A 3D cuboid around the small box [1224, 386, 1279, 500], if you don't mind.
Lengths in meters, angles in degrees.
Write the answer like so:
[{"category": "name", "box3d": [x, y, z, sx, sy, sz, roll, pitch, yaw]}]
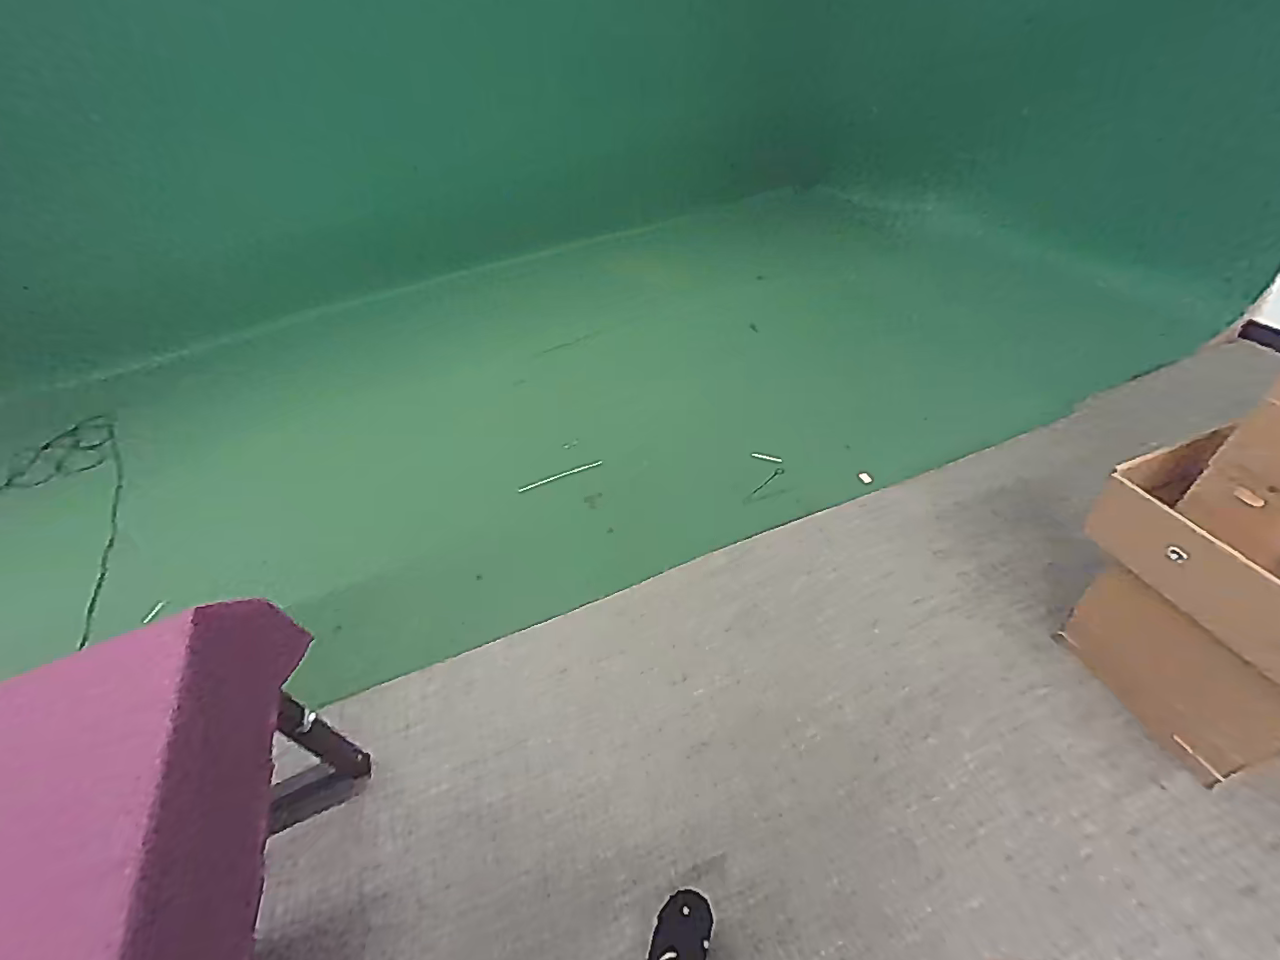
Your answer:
[{"category": "small box", "box3d": [1.193, -0.068, 0.938, 0.179, 0.176, 0.168, -15, 45, -4]}]
